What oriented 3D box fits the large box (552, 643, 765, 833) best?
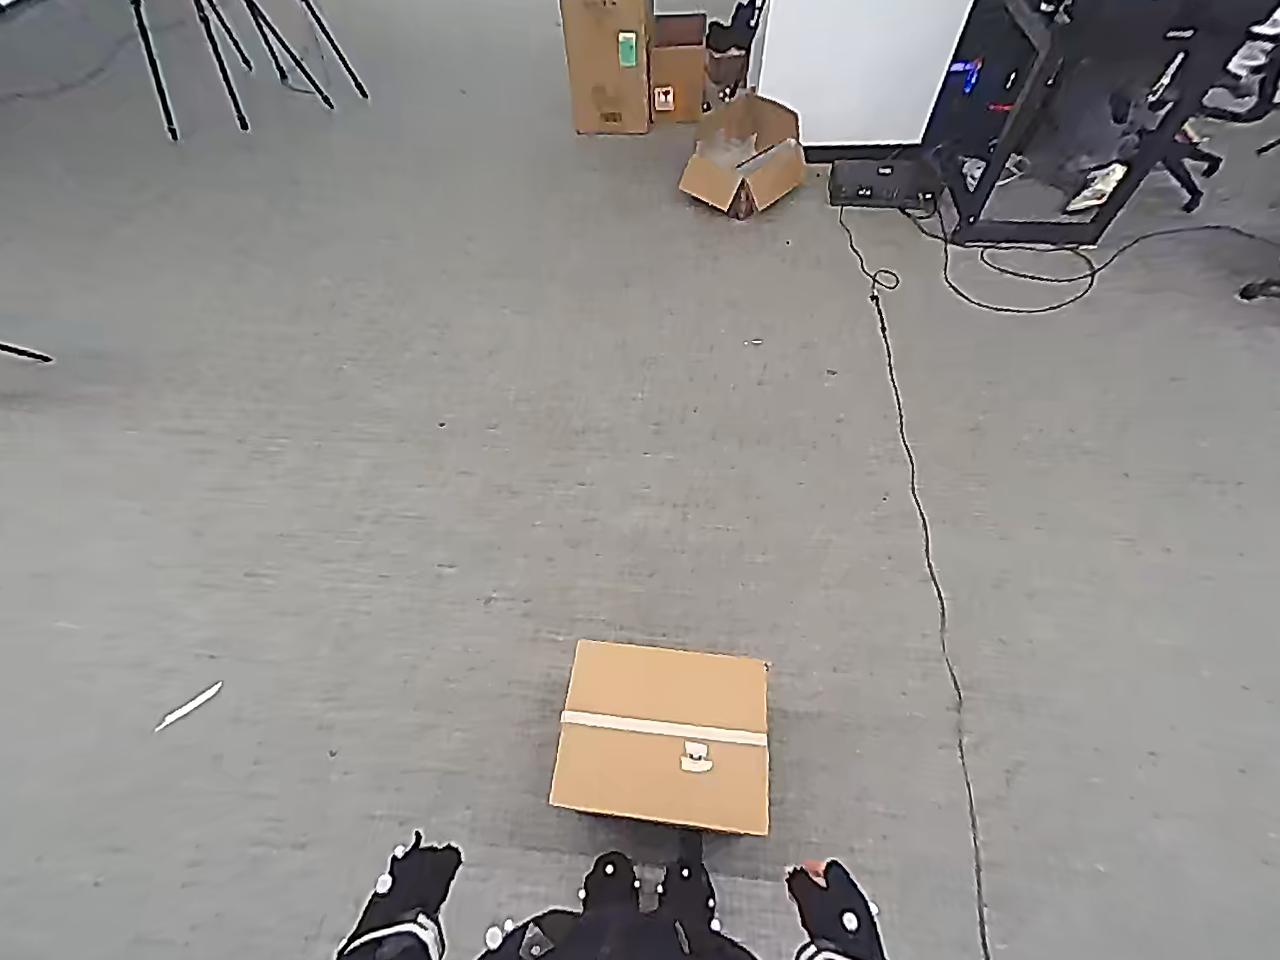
[{"bbox_3d":[0.047,0.577,1.200,0.408,0.320,0.320,5,57,5],"label":"large box"}]
